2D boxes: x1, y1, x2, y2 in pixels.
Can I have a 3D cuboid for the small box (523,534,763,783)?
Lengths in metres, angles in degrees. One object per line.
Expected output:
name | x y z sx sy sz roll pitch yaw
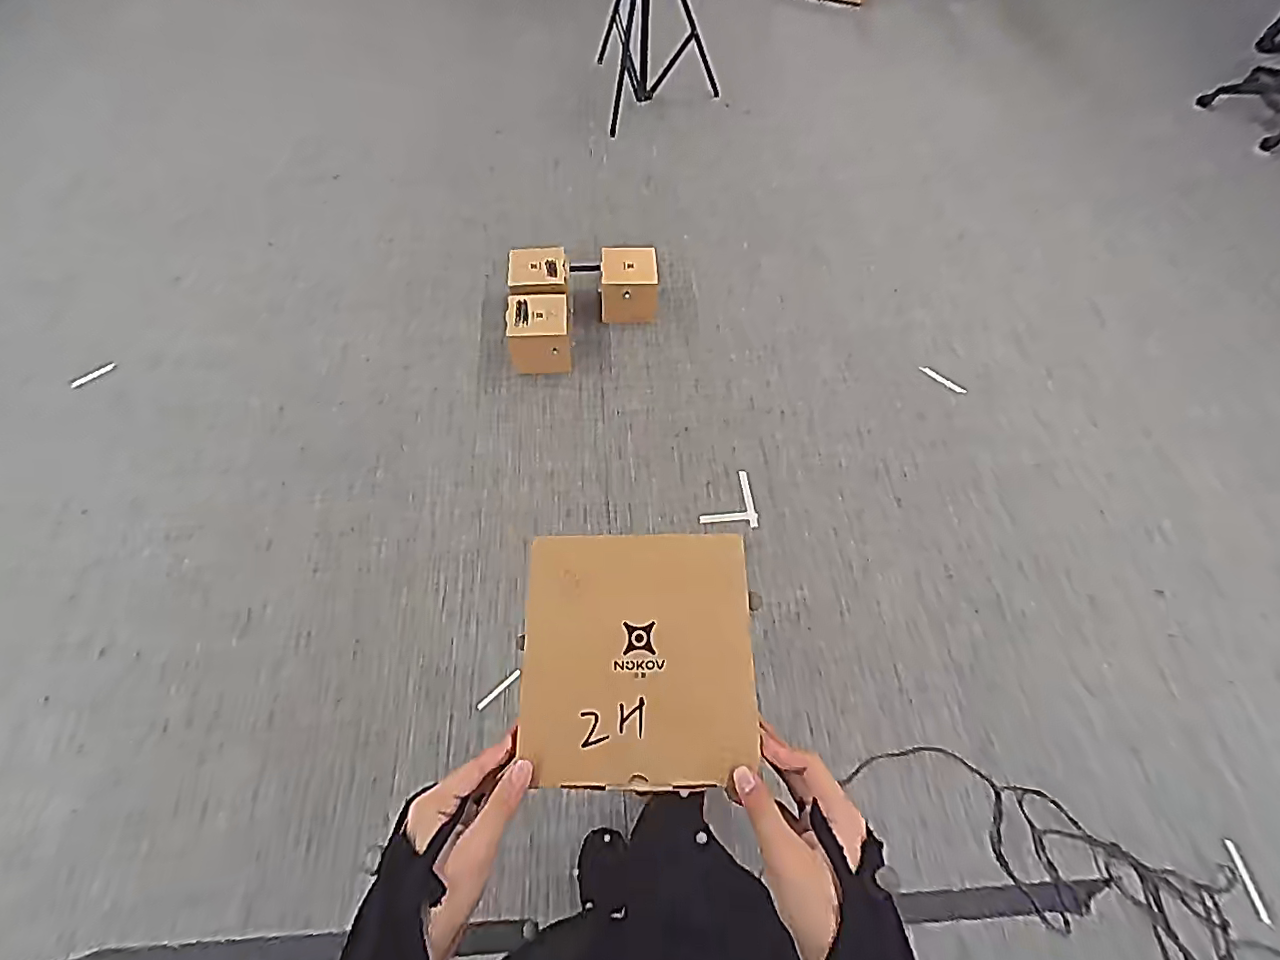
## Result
small box | 0.004 0.156 0.469 0.168 0.176 0.179 -1 66 2

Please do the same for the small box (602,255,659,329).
small box | -0.035 -0.614 1.775 0.179 0.176 0.168 -2 62 -2

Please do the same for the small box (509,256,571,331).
small box | -0.319 -0.603 1.759 0.179 0.176 0.168 -3 62 -2
